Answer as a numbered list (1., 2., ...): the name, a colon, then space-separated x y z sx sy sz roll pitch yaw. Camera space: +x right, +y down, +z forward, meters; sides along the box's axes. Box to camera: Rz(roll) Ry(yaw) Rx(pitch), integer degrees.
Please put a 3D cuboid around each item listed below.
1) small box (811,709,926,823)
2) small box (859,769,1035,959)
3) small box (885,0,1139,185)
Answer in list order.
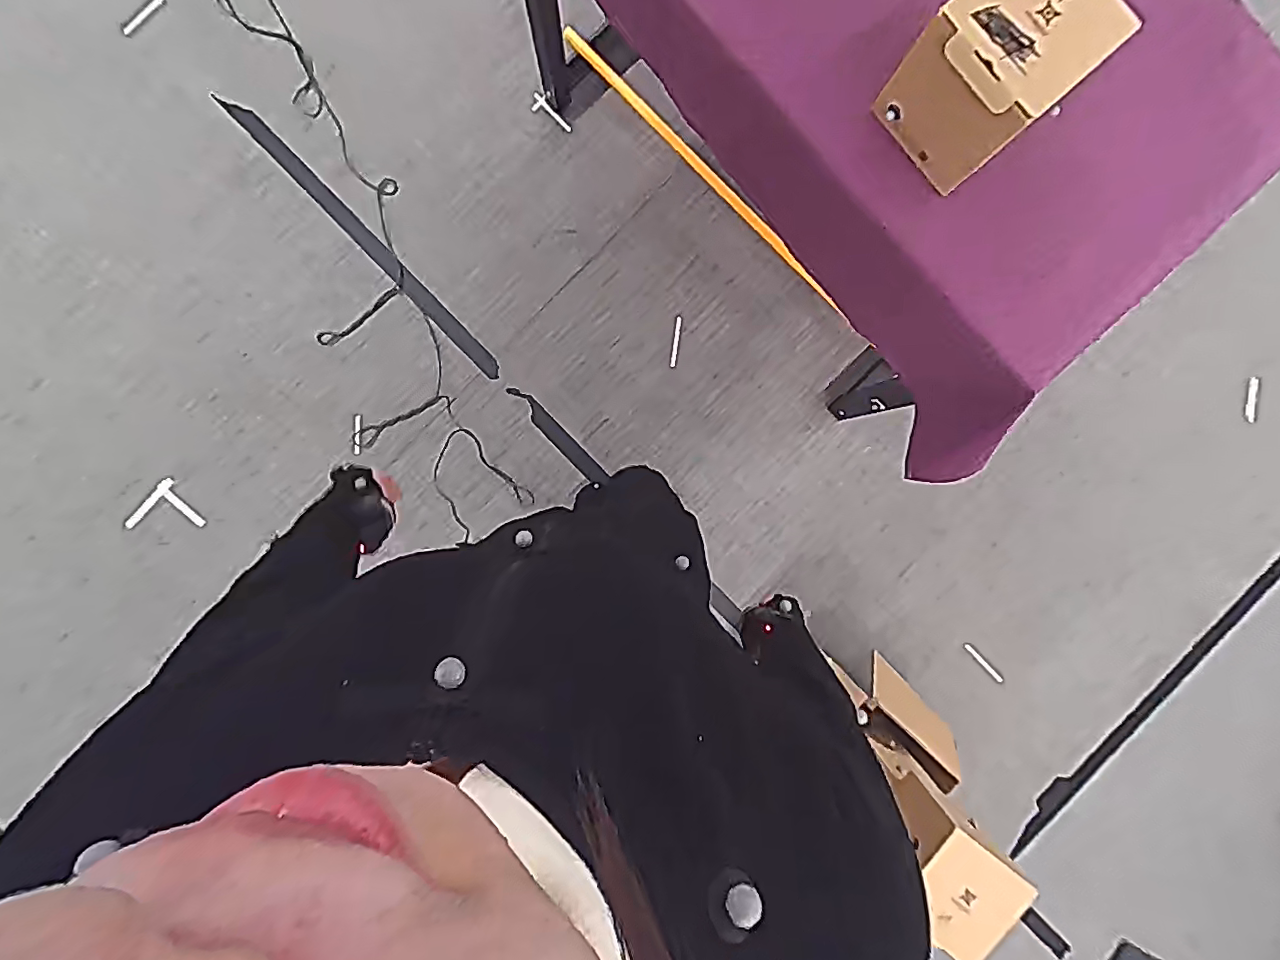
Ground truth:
1. small box: 0.528 0.679 1.276 0.168 0.176 0.179 24 94 1
2. small box: 0.519 0.656 0.946 0.168 0.176 0.179 38 94 1
3. small box: 0.445 -0.523 0.686 0.179 0.176 0.168 -41 93 -2
